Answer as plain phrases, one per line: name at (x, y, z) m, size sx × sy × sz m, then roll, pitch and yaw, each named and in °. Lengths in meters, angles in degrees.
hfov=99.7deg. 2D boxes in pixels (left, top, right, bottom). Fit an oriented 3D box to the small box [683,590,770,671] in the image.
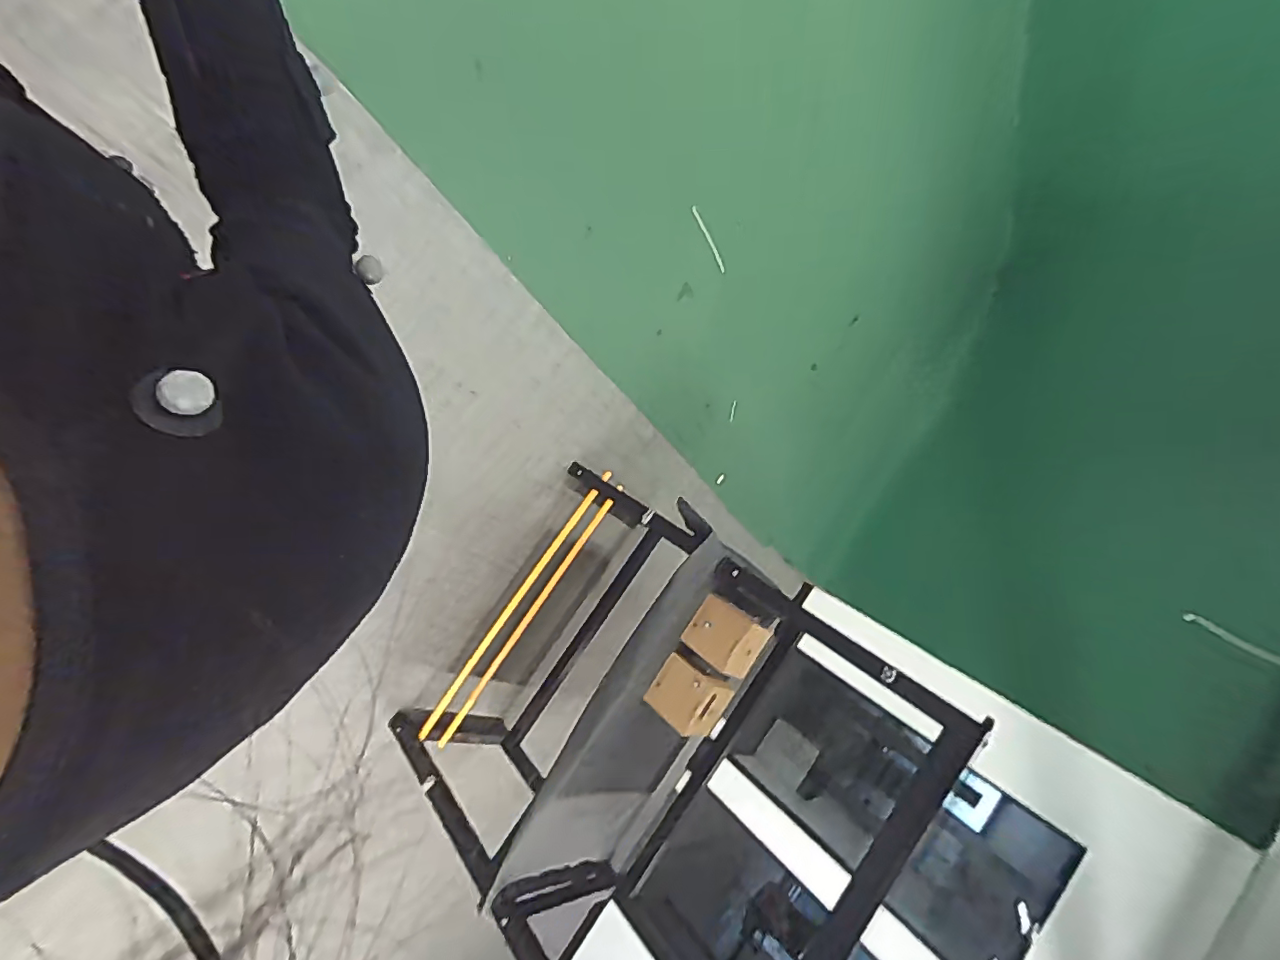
small box at (0.262, 0.456, 1.645) m, size 0.168 × 0.176 × 0.179 m, roll -56°, pitch 141°, yaw -3°
